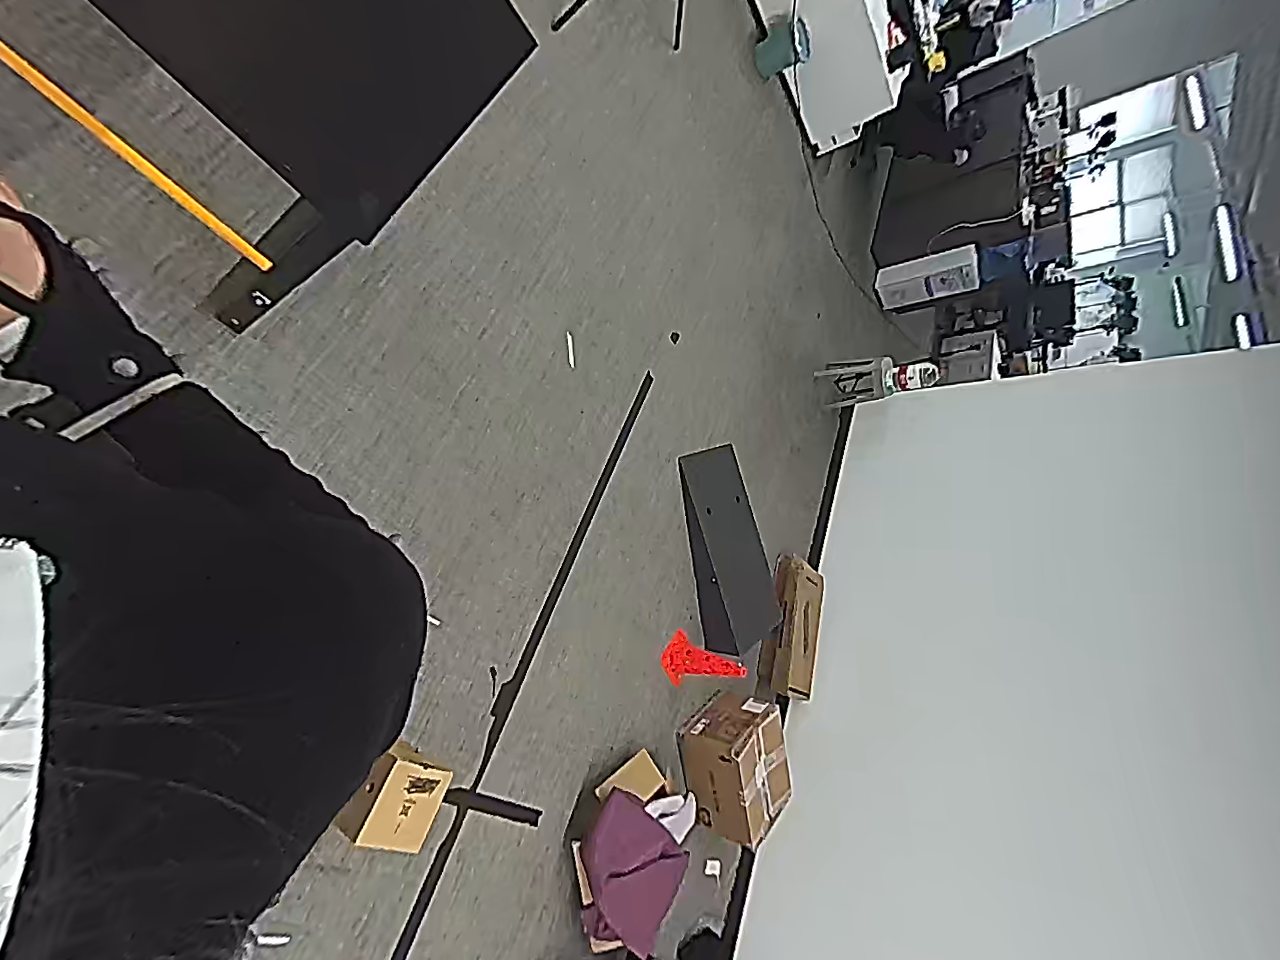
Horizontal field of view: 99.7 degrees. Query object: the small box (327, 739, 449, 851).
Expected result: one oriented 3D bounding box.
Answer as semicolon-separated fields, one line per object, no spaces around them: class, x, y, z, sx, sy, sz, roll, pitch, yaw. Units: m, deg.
small box;-0.594;0.734;1.271;0.168;0.176;0.179;44;57;-39
